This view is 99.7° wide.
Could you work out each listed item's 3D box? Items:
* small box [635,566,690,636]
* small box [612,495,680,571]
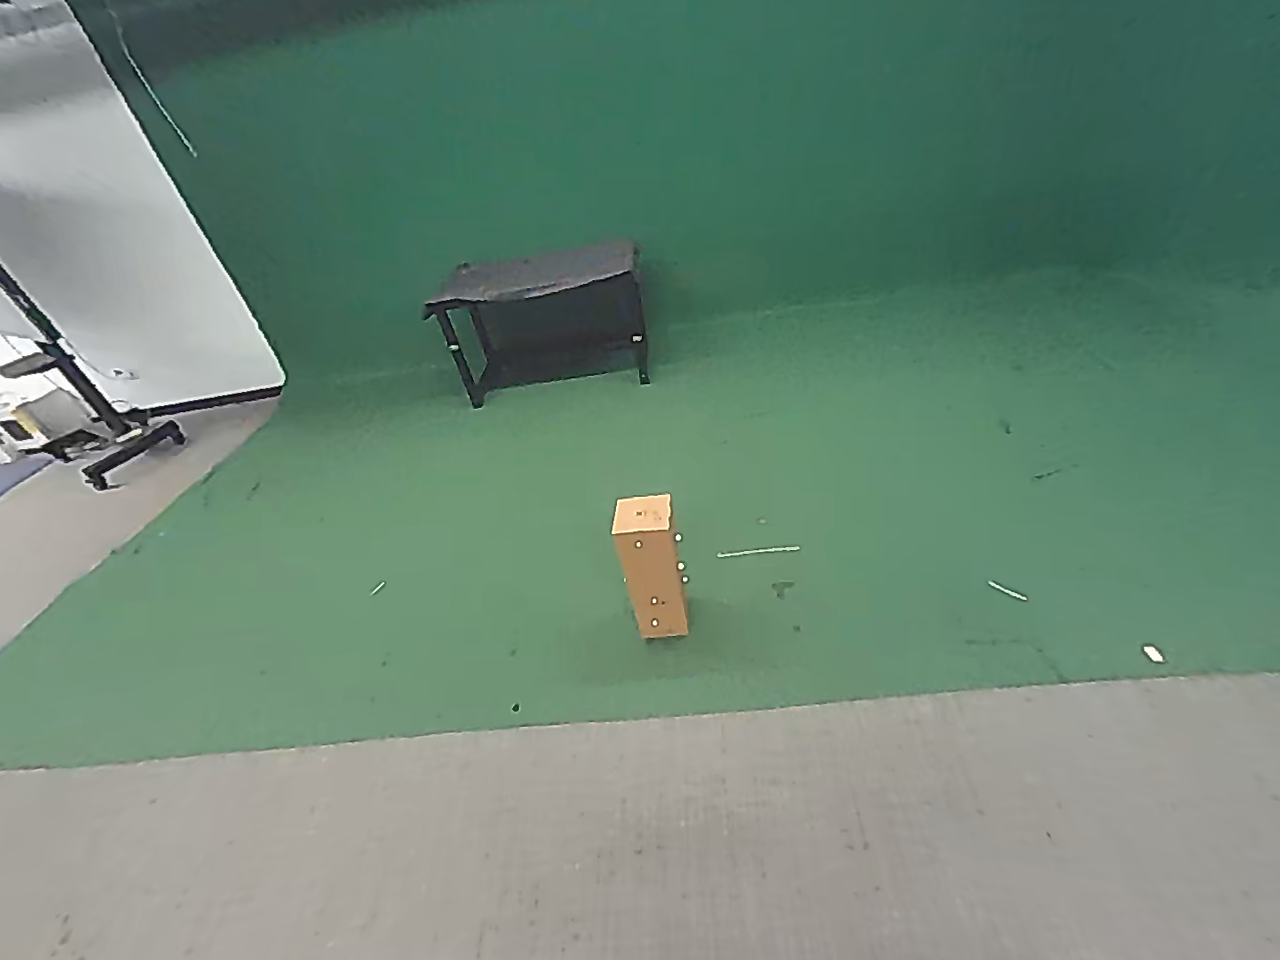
[{"bbox_3d":[0.080,0.428,1.882,0.168,0.176,0.179,-7,35,8],"label":"small box"},{"bbox_3d":[0.025,0.169,1.686,0.179,0.176,0.168,-5,37,10],"label":"small box"}]
